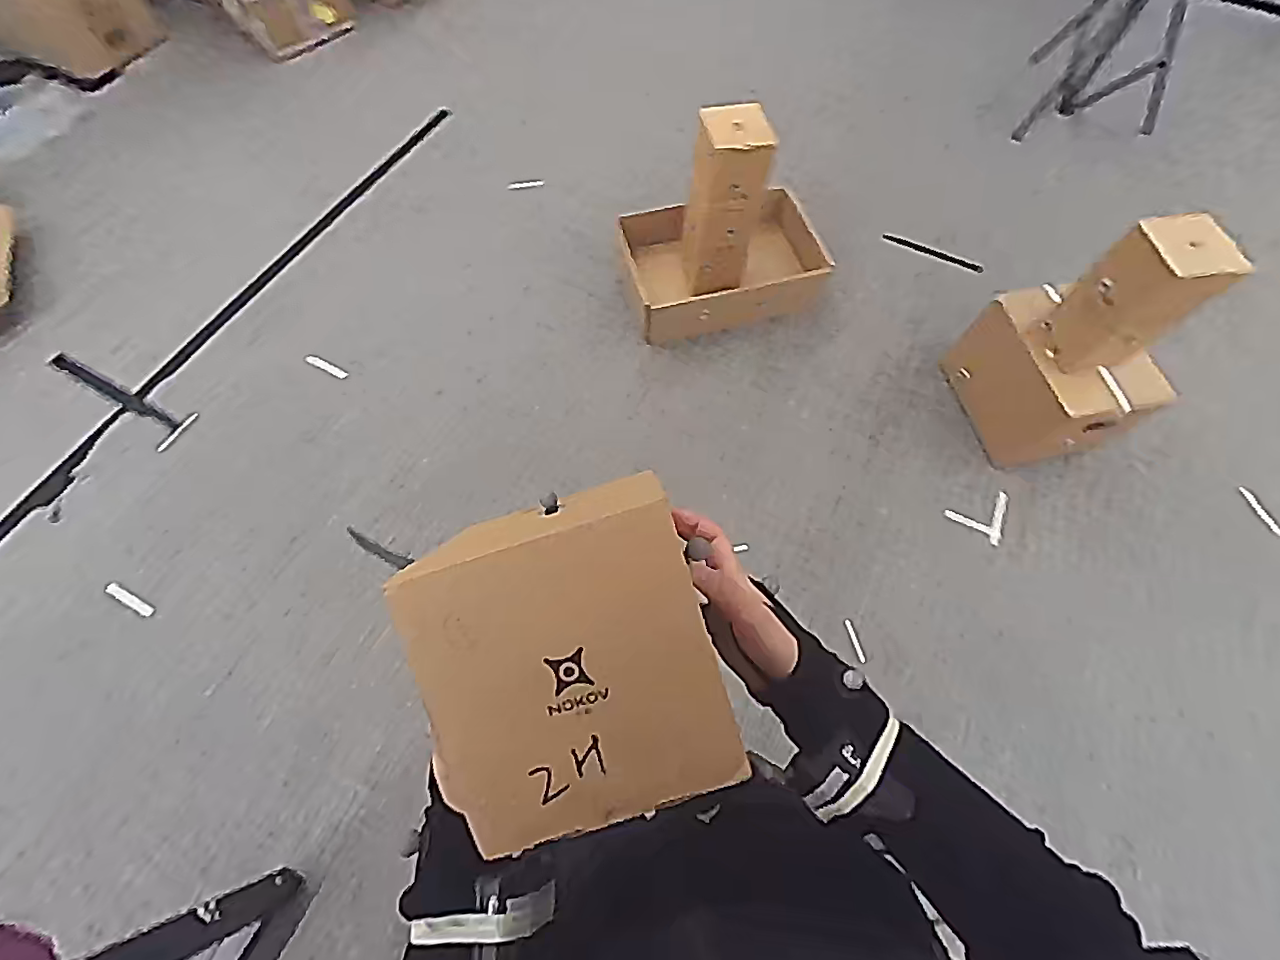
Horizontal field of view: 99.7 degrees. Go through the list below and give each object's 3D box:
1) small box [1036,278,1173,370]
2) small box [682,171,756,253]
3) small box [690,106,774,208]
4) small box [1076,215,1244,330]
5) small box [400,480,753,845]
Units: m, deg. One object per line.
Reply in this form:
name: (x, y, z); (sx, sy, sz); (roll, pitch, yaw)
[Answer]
small box: (1.147, -0.396, 1.360); (0.179, 0.176, 0.168); (-9, 67, -7)
small box: (0.232, -0.804, 1.623); (0.168, 0.176, 0.179); (-10, 66, -7)
small box: (0.241, -0.881, 1.479); (0.168, 0.176, 0.179); (-11, 66, -8)
small box: (1.147, -0.459, 1.210); (0.179, 0.176, 0.168); (-8, 66, -4)
small box: (-0.036, 0.102, 0.386); (0.168, 0.176, 0.179); (-16, 95, 1)
